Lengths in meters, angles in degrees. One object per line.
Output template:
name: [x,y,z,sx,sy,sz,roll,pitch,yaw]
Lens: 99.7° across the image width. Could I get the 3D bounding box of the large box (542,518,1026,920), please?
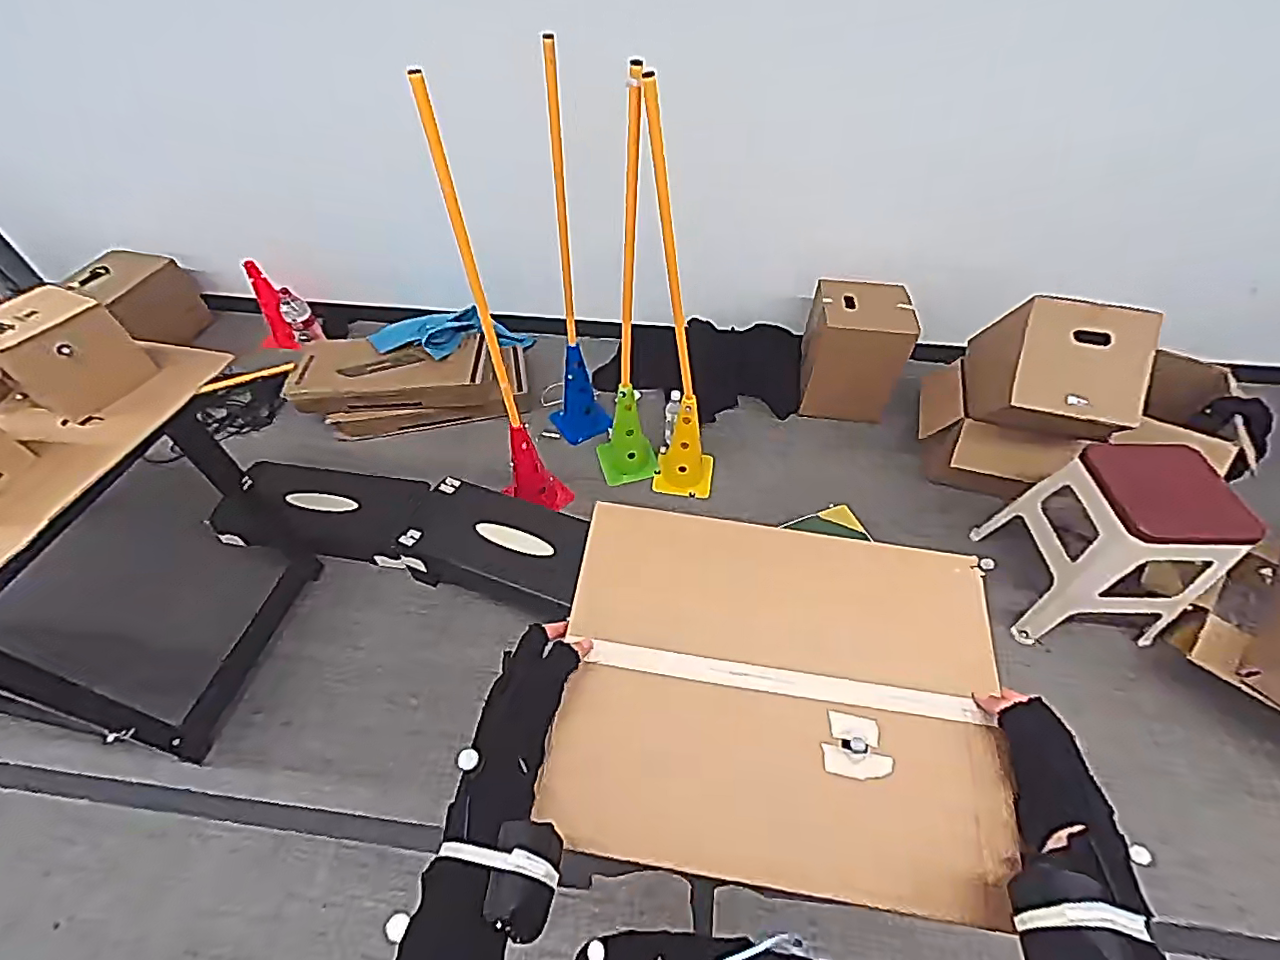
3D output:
large box: [0.127,0.269,0.640,0.408,0.320,0.320,8,61,3]
